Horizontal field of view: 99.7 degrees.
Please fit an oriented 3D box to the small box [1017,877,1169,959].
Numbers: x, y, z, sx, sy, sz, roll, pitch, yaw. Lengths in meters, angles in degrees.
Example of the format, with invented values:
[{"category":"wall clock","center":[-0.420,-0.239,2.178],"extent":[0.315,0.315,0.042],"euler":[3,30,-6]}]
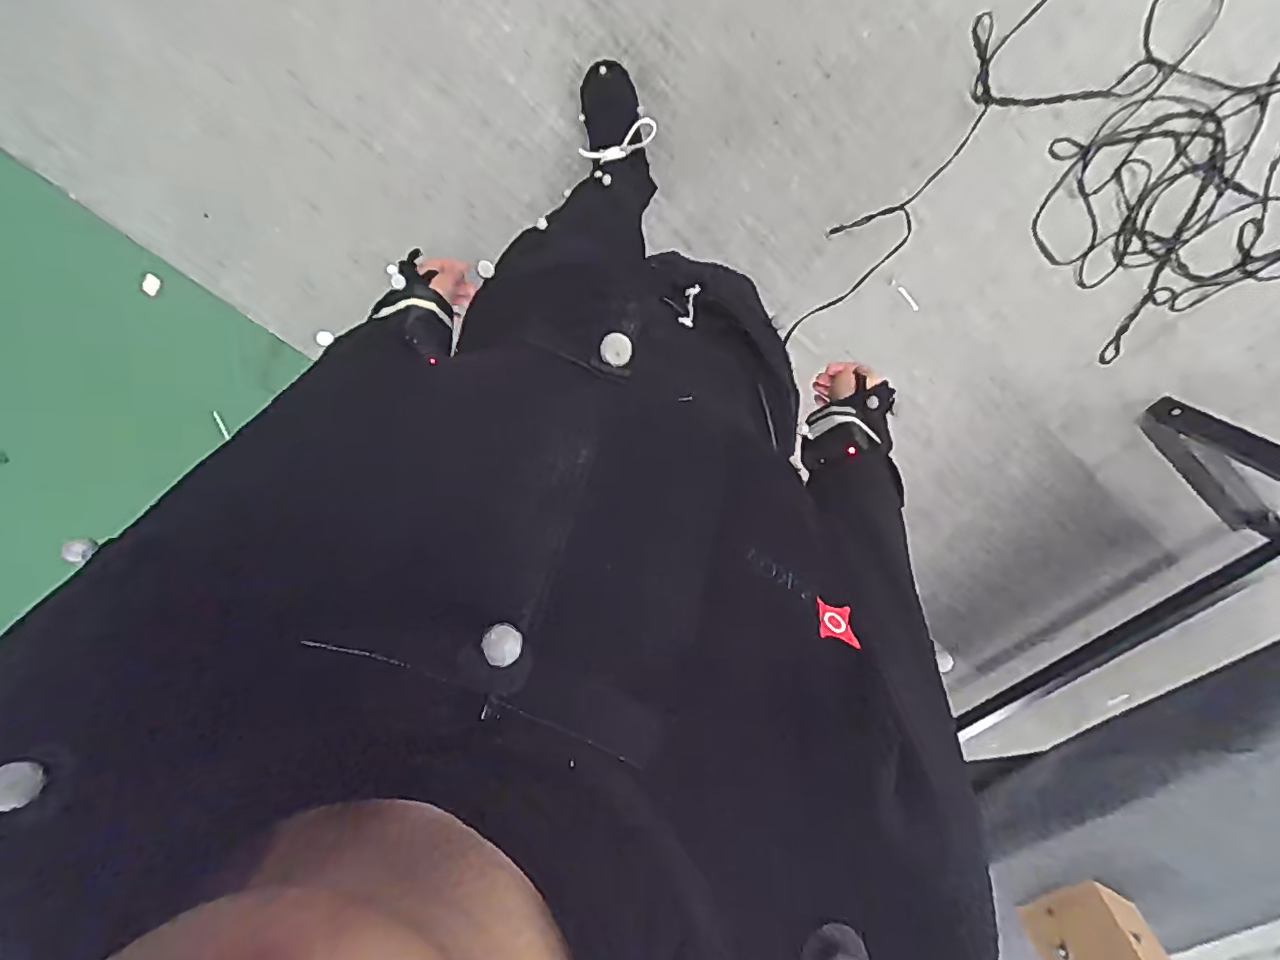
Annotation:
[{"category":"small box","center":[0.899,0.918,1.062],"extent":[0.179,0.176,0.168],"euler":[33,117,-19]}]
